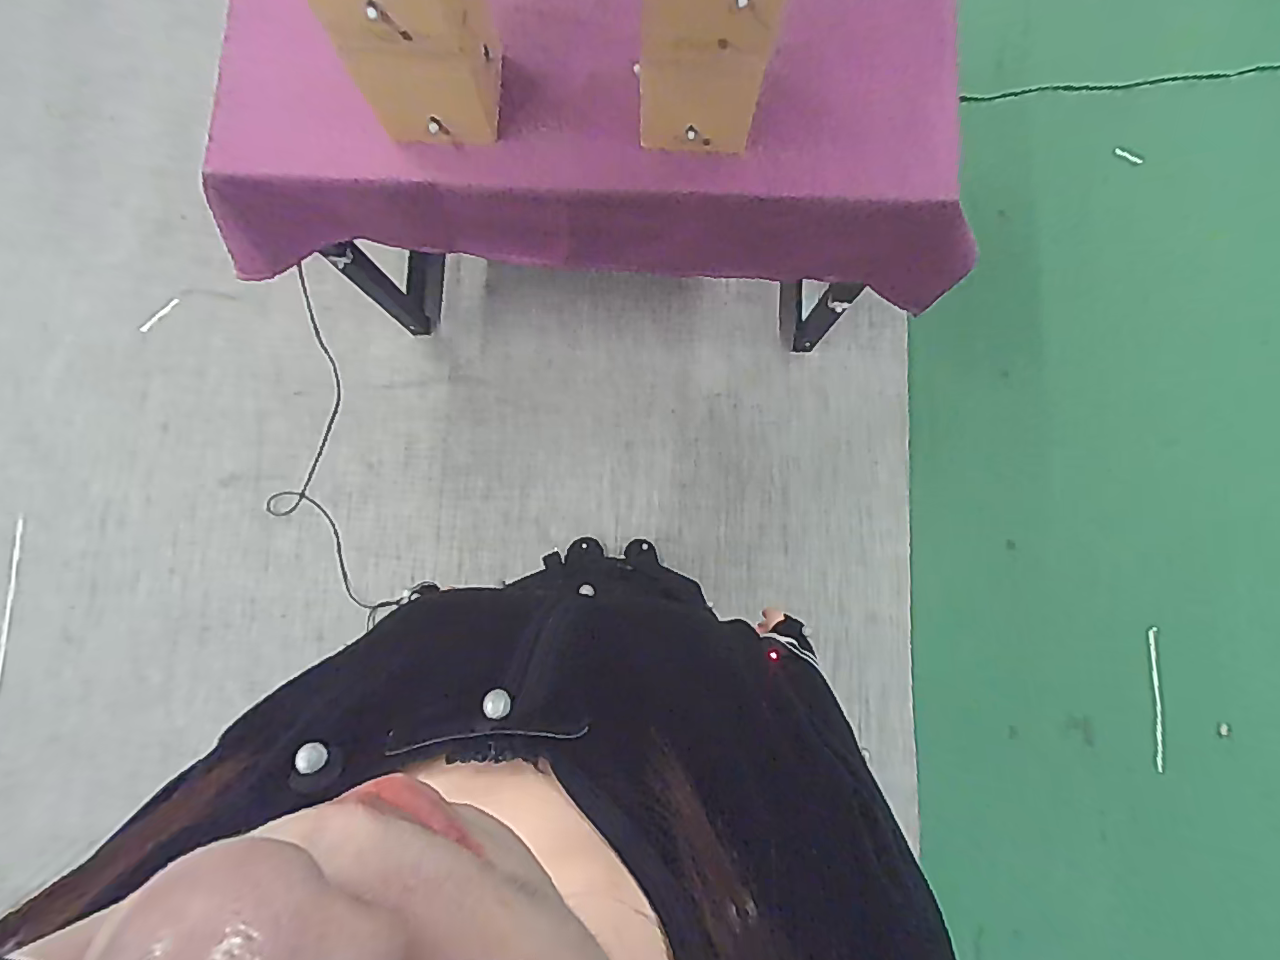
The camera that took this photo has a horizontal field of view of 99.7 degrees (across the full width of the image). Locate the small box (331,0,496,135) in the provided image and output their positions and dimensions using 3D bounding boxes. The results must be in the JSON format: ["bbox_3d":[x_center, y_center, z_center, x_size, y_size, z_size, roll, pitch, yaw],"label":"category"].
[{"bbox_3d":[-0.317,-0.641,0.795,0.179,0.176,0.168,1,83,-1],"label":"small box"}]

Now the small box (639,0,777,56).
[{"bbox_3d":[0.084,-0.643,0.630,0.168,0.176,0.179,3,84,0],"label":"small box"}]
